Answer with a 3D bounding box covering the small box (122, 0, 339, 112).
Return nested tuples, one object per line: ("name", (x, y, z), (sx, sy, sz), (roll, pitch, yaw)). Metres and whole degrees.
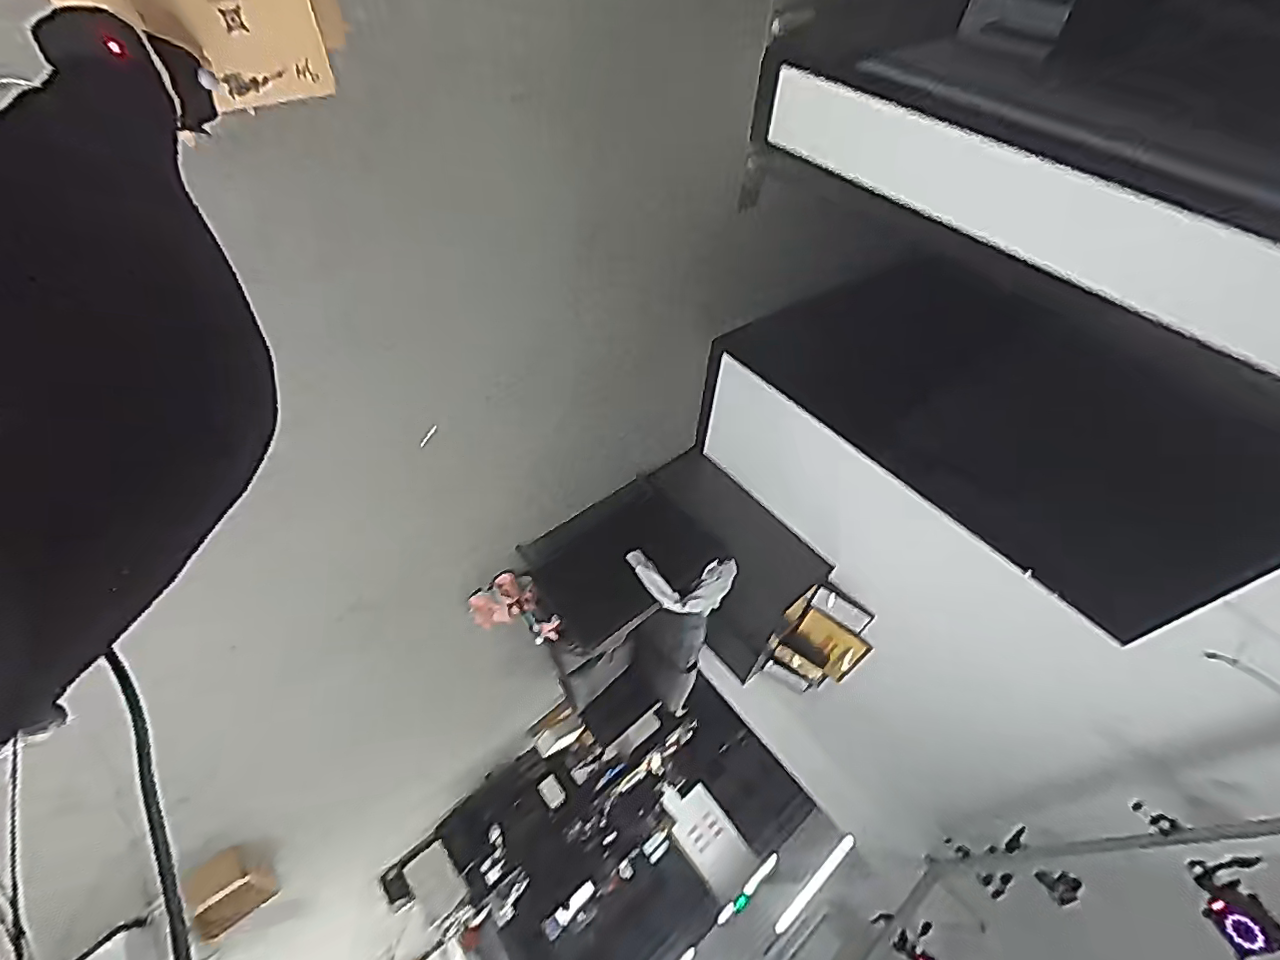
("small box", (-0.482, -0.549, 0.608), (0.168, 0.176, 0.179), (-31, 149, -25))
